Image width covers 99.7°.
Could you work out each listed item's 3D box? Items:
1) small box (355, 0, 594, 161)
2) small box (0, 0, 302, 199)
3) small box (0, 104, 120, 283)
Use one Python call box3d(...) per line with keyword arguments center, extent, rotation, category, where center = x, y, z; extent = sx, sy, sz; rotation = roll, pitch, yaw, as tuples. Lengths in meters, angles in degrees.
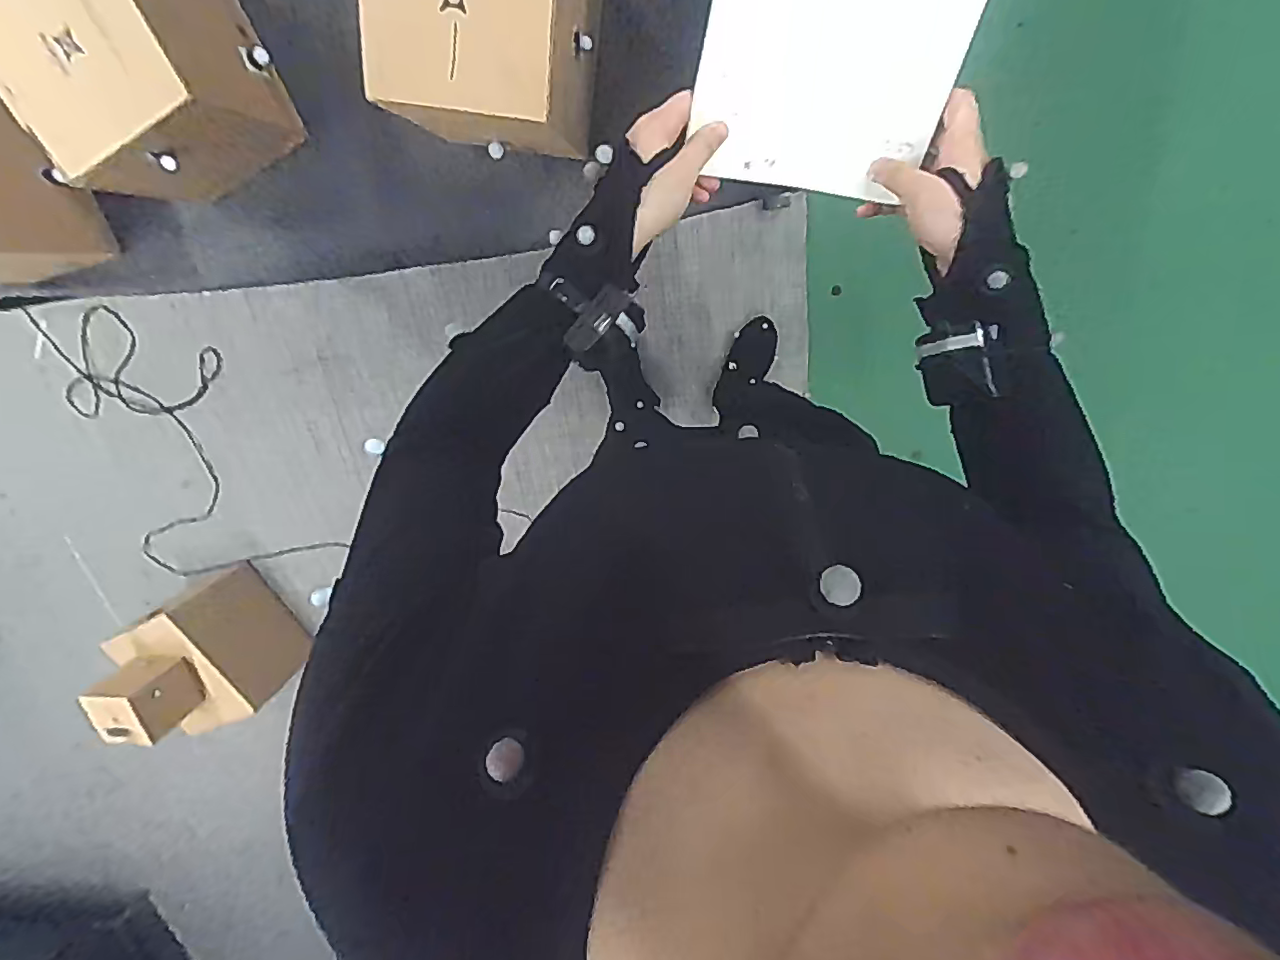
box3d(center=(-0.143, -0.425, 0.512), extent=(0.168, 0.176, 0.179), rotation=(10, 113, 4), category="small box")
box3d(center=(-0.512, -0.419, 0.567), extent=(0.179, 0.176, 0.168), rotation=(-21, 108, 14), category="small box")
box3d(center=(-0.795, -0.336, 0.636), extent=(0.168, 0.176, 0.179), rotation=(-10, 110, 11), category="small box")
